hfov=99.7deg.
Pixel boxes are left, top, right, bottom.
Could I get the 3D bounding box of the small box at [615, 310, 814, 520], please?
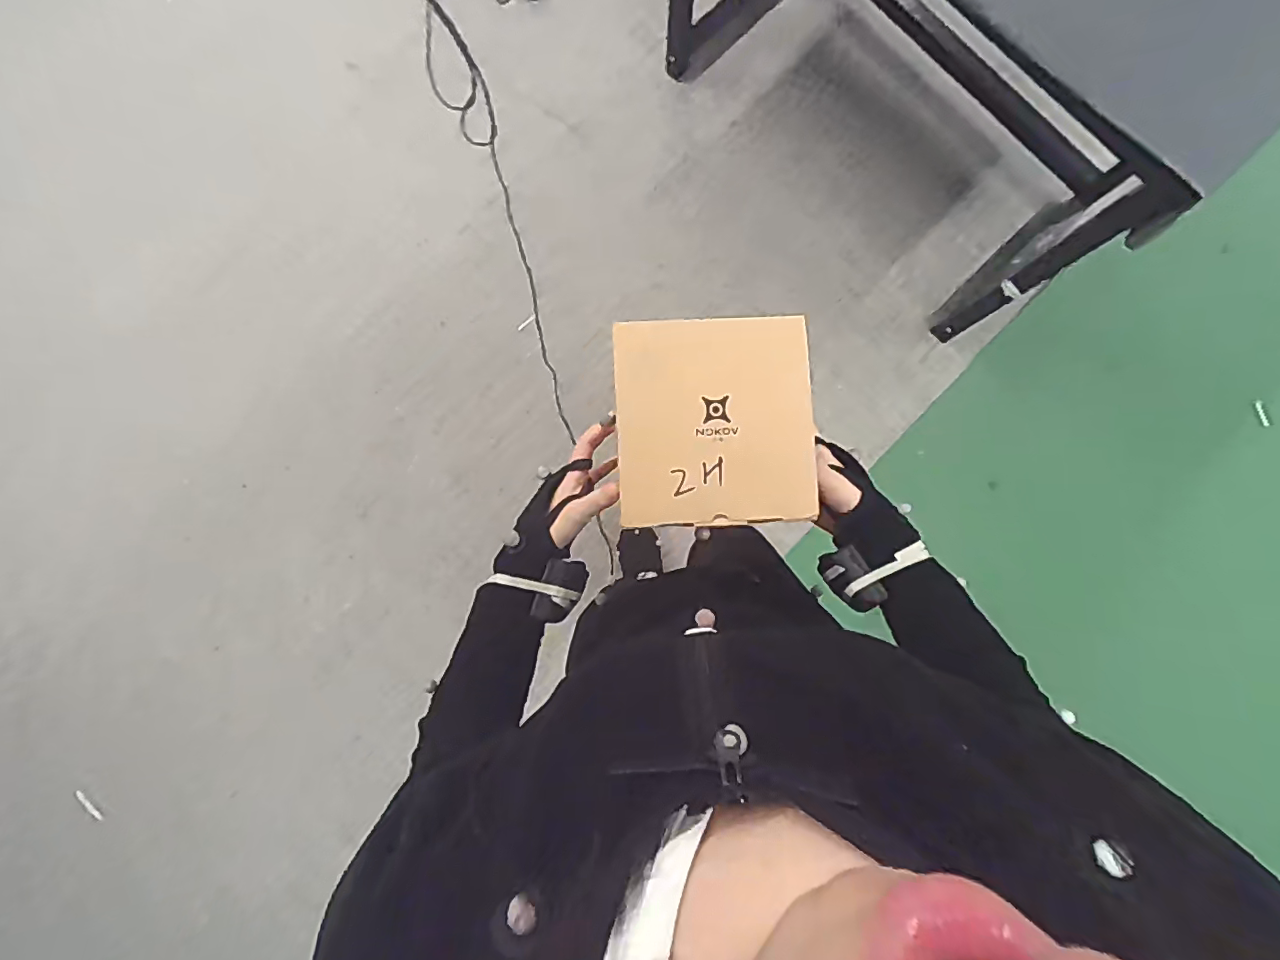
[{"bbox_3d":[0.059,-0.051,0.531,0.168,0.176,0.179,-1,86,-2],"label":"small box"}]
